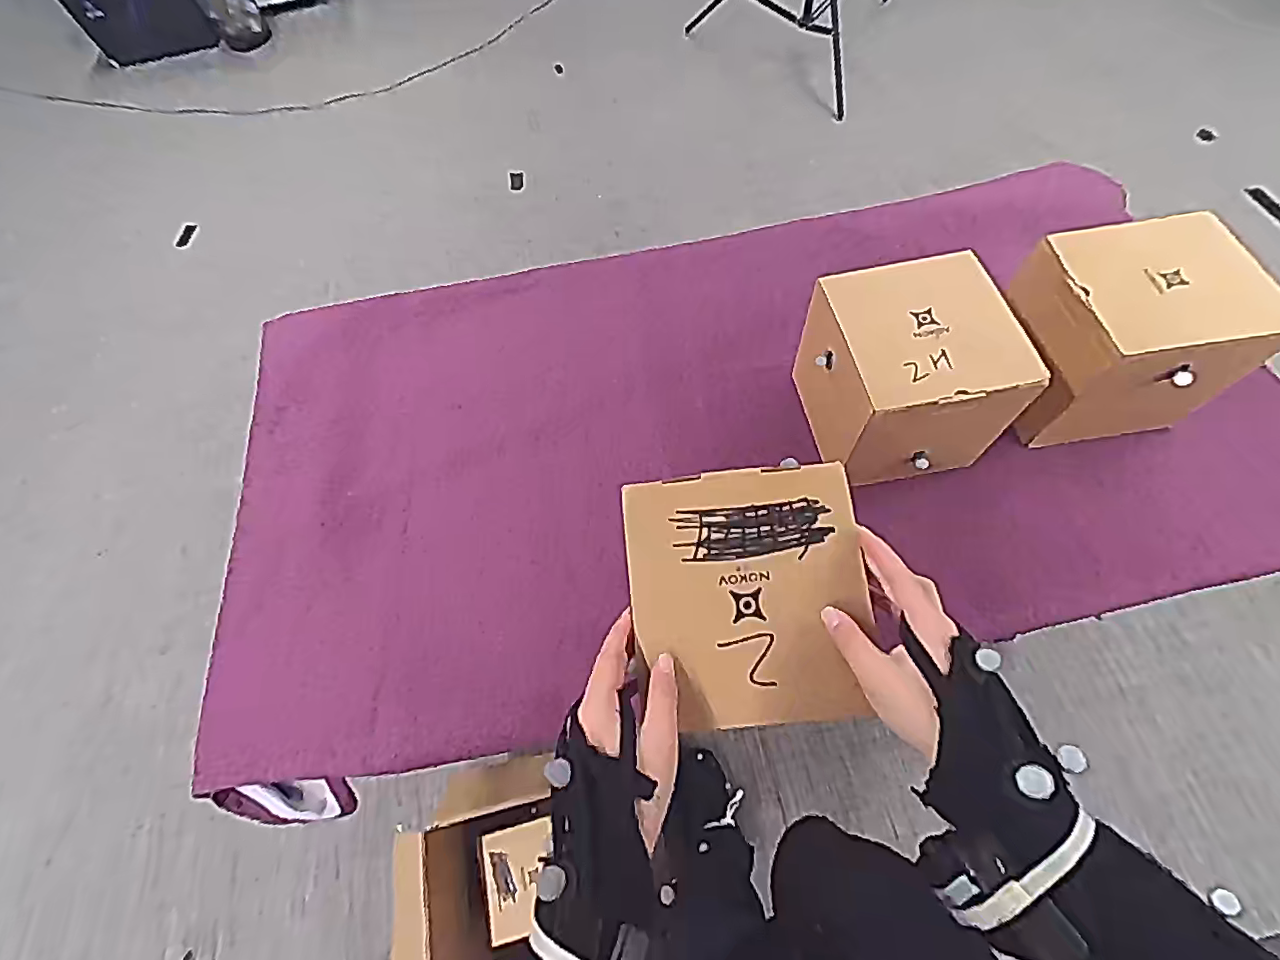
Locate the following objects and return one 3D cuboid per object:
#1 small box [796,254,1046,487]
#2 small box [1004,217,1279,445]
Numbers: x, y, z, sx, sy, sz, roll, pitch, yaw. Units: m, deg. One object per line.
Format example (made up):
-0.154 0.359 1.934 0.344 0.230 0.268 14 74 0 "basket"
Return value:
0.285 -0.114 0.602 0.168 0.176 0.179 -10 63 1 "small box"
0.523 -0.157 0.604 0.179 0.176 0.168 -8 62 2 "small box"
